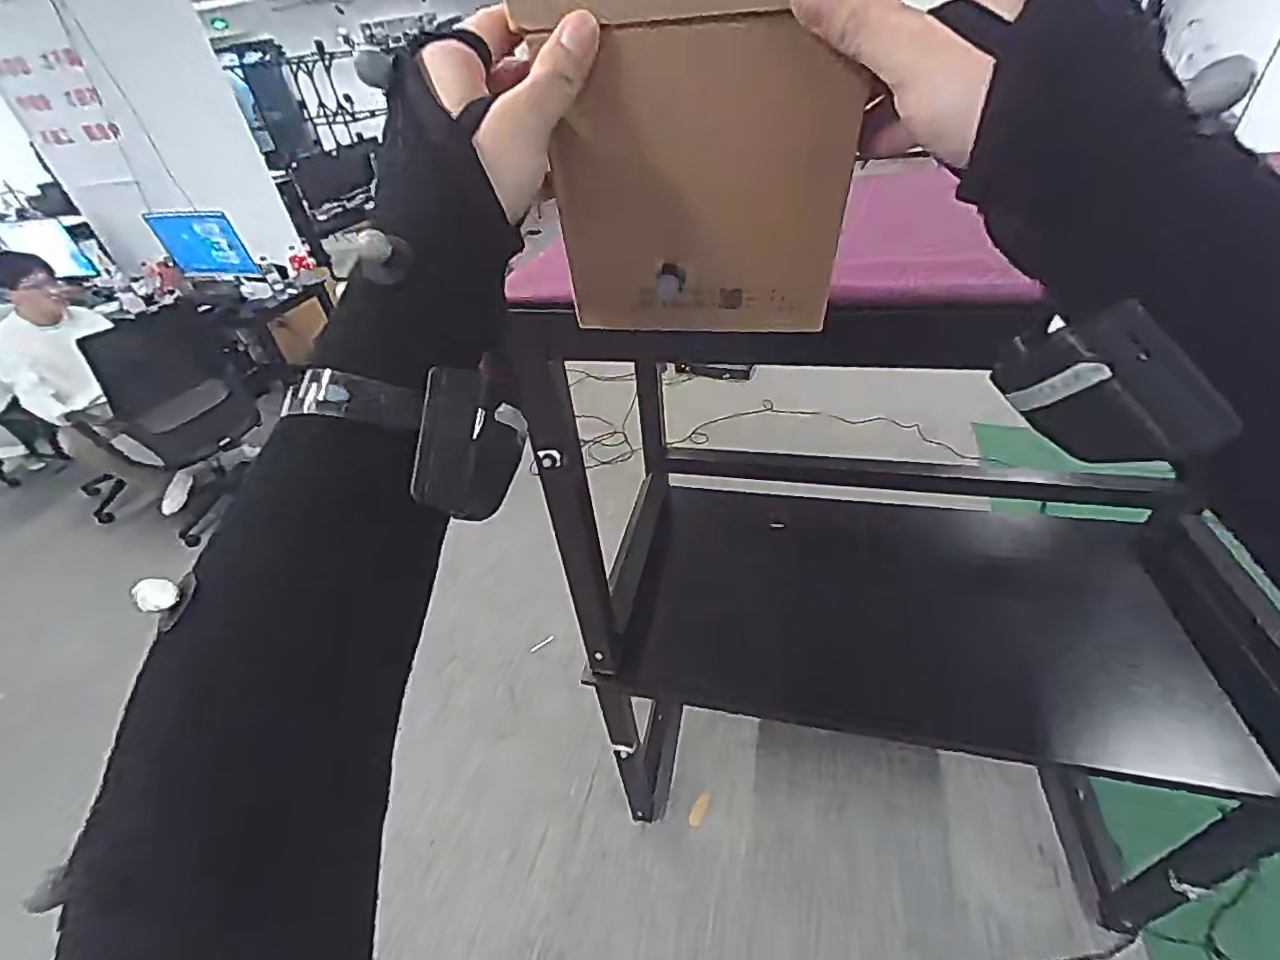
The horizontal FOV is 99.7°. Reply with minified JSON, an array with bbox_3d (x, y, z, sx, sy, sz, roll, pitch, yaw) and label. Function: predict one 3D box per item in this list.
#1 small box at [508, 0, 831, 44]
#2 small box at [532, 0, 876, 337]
[{"bbox_3d":[0.026,-0.319,0.237,0.179,0.176,0.168,2,49,10],"label":"small box"},{"bbox_3d":[0.042,-0.218,0.366,0.168,0.176,0.179,3,50,8],"label":"small box"}]
